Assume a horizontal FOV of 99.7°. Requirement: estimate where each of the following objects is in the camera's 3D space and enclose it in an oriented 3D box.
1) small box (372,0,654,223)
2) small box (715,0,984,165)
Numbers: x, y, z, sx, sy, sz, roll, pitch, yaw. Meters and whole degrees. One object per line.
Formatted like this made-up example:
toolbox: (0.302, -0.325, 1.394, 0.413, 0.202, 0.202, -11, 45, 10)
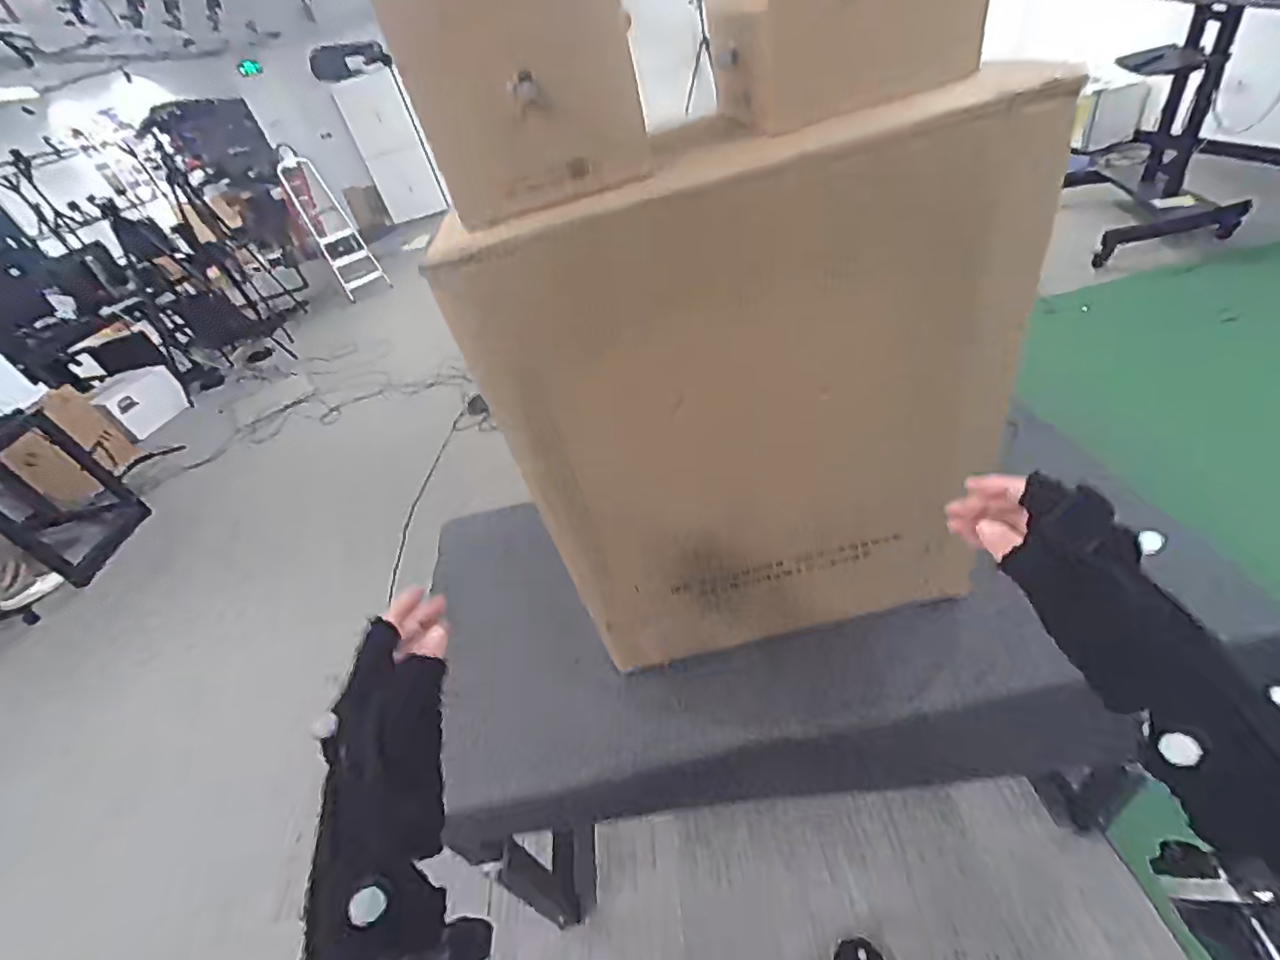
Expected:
small box: (-0.093, -0.338, 0.458, 0.168, 0.176, 0.179, -15, 41, 2)
small box: (0.167, -0.396, 0.462, 0.179, 0.176, 0.168, -16, 40, 1)
